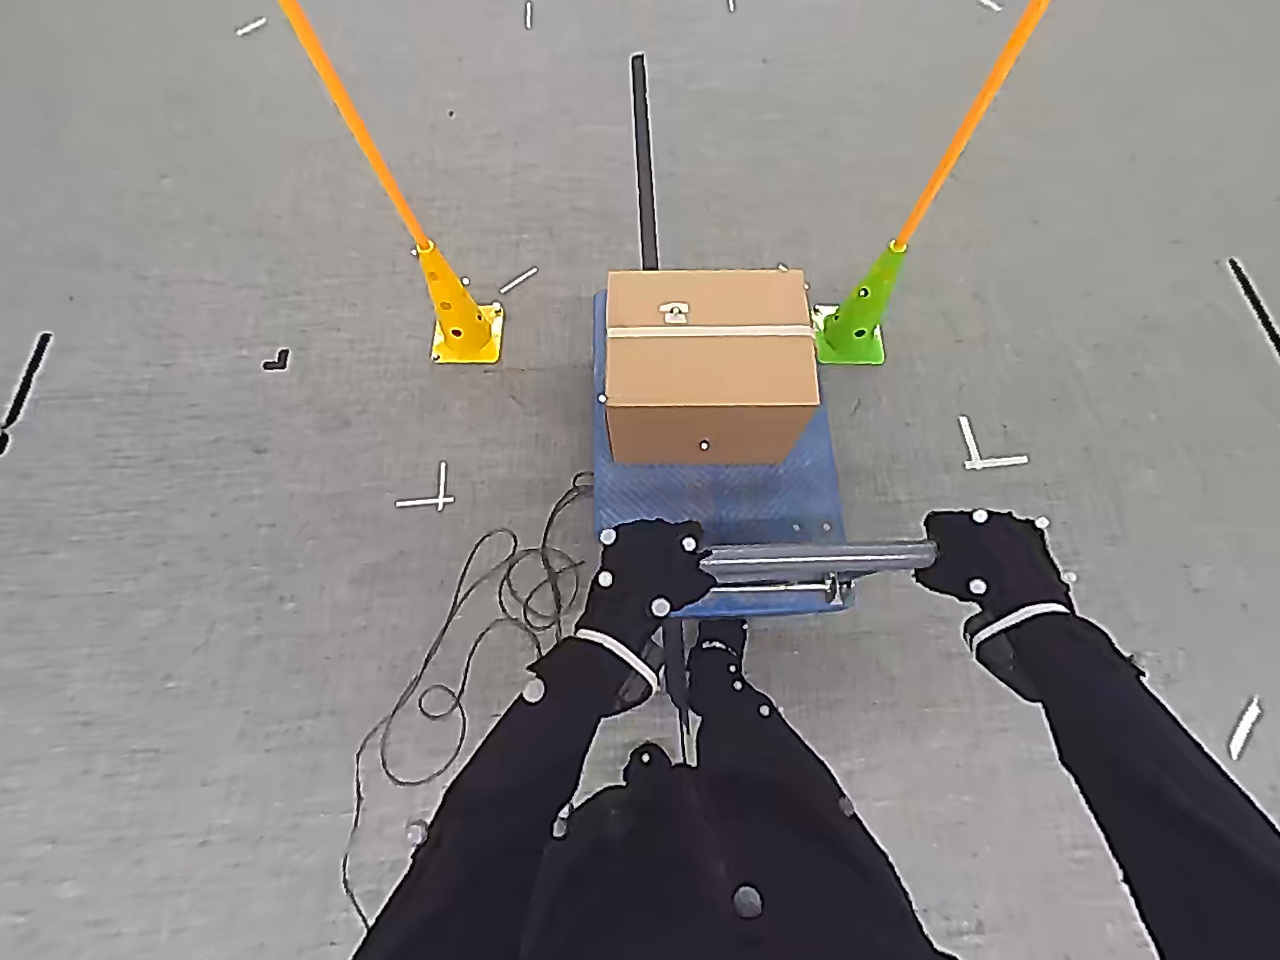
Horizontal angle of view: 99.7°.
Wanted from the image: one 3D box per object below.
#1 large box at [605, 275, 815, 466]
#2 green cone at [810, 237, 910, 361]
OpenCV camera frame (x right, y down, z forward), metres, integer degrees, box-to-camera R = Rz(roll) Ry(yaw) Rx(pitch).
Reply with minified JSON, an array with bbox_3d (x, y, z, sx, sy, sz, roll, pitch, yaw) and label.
[{"bbox_3d":[0.135,-0.226,1.208,0.408,0.320,0.320,-1,70,1],"label":"large box"},{"bbox_3d":[0.616,-0.501,1.454,0.202,0.368,0.200,1,70,0],"label":"green cone"}]
